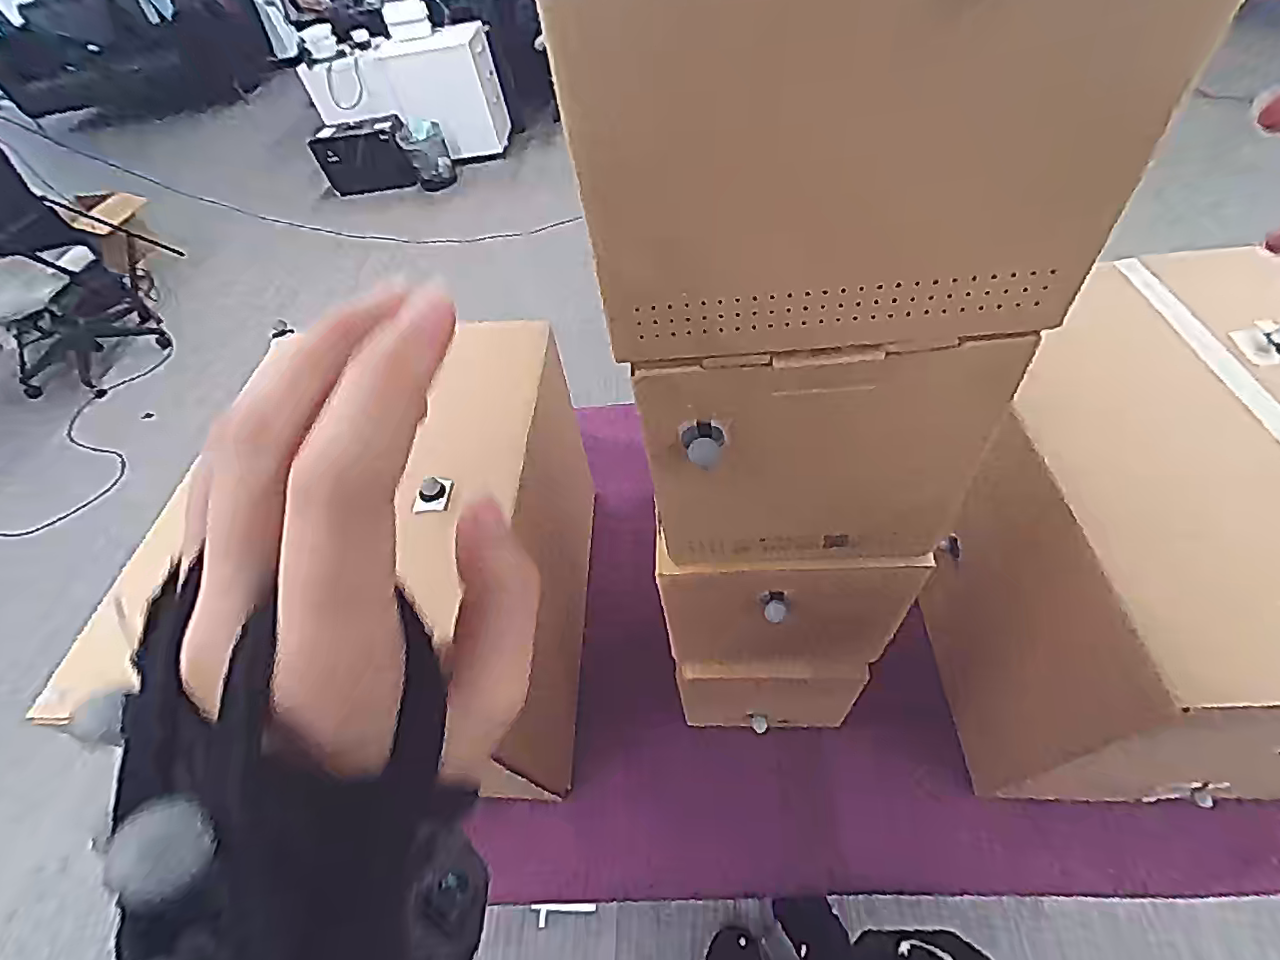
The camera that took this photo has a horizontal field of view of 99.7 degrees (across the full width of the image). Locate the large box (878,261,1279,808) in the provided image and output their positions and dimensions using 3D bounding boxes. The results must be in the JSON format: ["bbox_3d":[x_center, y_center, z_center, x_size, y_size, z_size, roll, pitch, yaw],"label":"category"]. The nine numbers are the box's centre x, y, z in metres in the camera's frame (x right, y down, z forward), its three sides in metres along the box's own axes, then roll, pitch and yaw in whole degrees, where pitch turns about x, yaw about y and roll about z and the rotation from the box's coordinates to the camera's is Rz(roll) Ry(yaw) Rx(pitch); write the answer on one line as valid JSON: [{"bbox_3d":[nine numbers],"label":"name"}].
[{"bbox_3d":[0.458,0.056,0.511,0.320,0.320,0.408,-4,51,7],"label":"large box"}]
